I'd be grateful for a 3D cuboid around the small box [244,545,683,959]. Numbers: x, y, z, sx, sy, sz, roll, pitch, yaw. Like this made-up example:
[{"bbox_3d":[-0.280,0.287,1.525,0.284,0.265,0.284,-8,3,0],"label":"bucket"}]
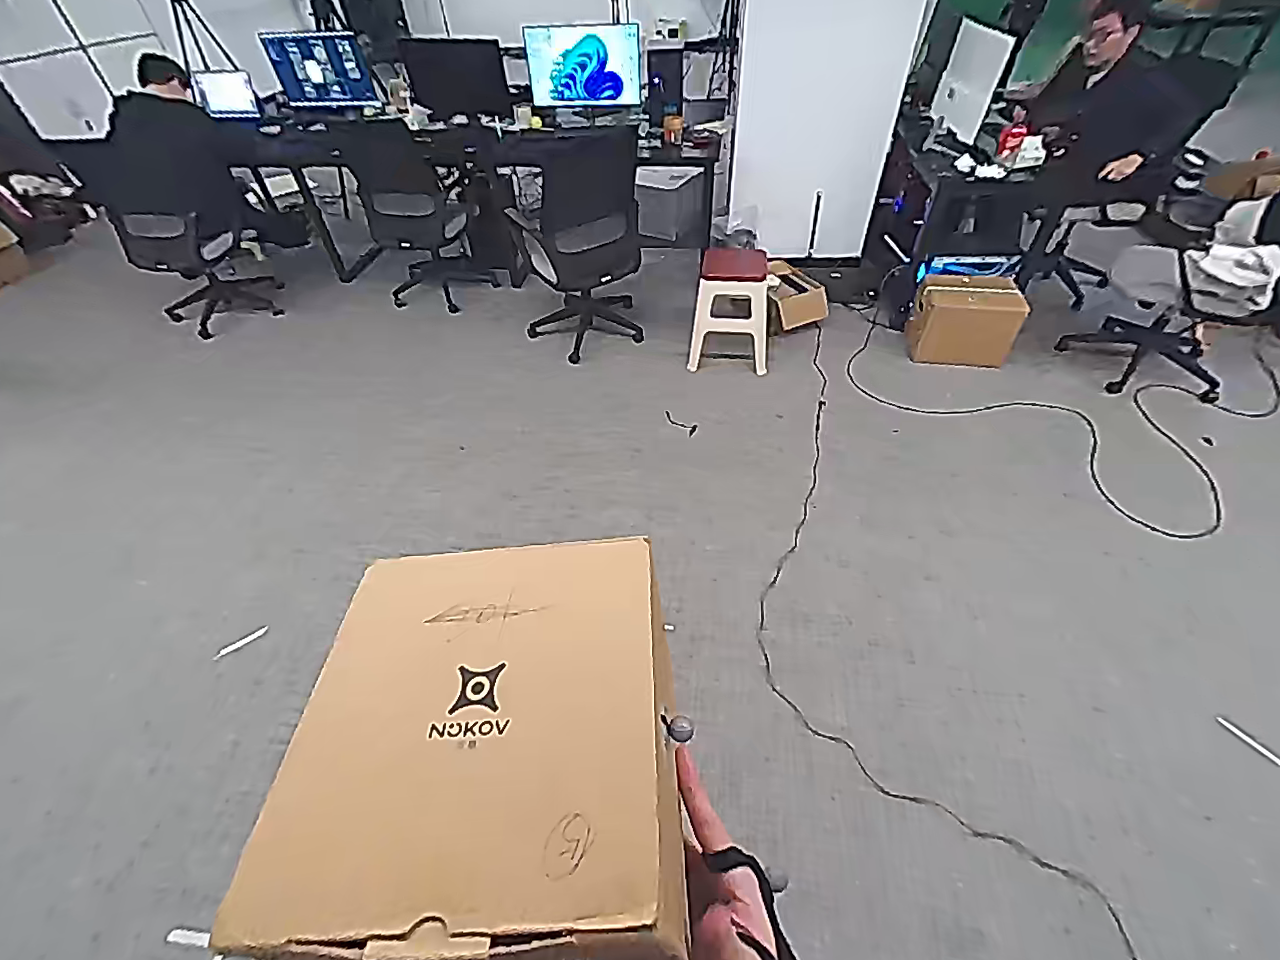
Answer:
[{"bbox_3d":[-0.066,0.163,0.317,0.168,0.176,0.179,-6,44,3],"label":"small box"}]
